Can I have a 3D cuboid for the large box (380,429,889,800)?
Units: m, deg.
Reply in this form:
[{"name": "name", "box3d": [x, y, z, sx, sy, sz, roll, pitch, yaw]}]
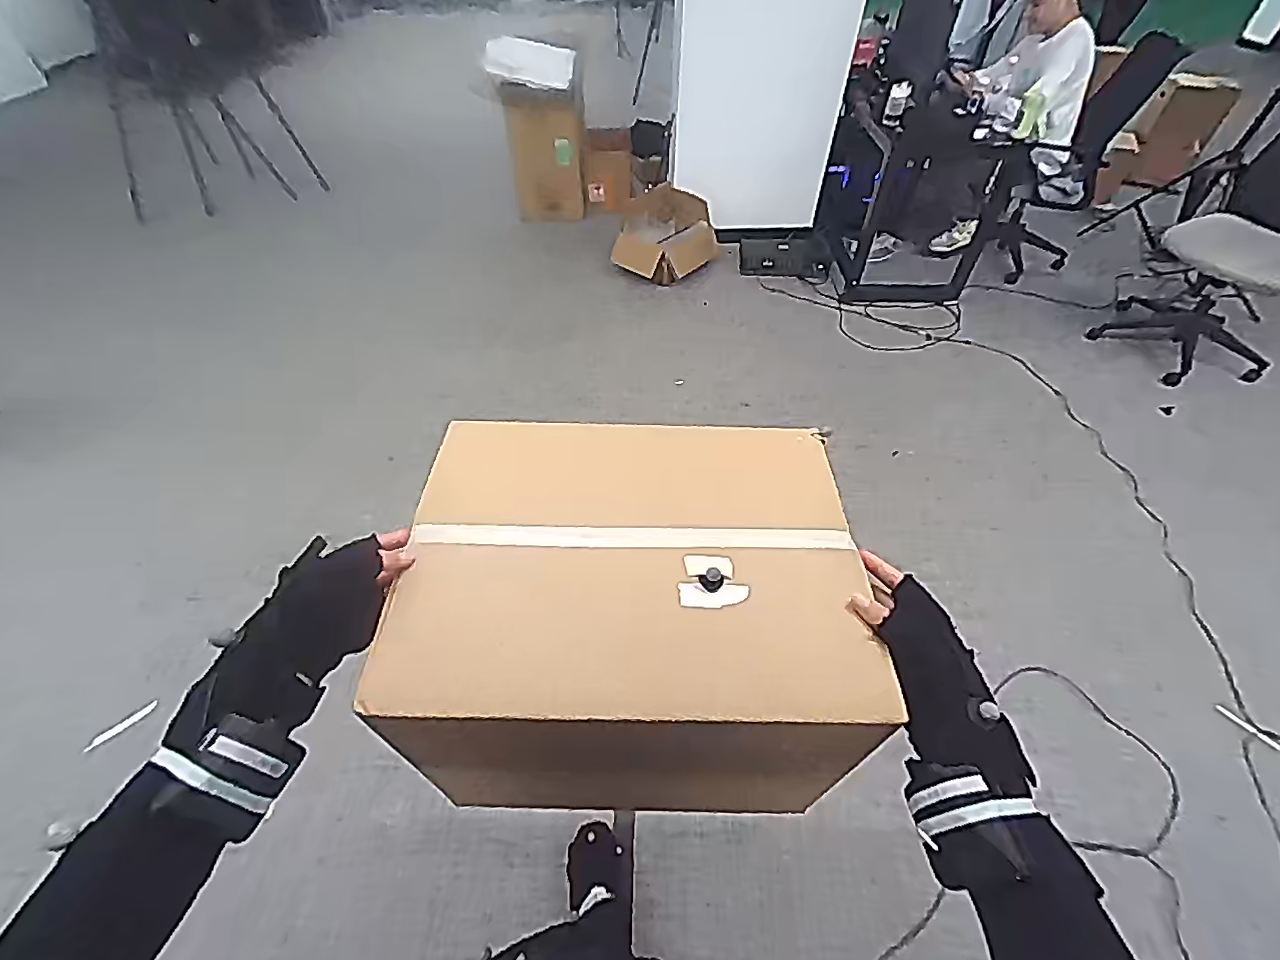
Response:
[{"name": "large box", "box3d": [-0.008, 0.159, 0.623, 0.408, 0.320, 0.320, 2, 48, -1]}]
